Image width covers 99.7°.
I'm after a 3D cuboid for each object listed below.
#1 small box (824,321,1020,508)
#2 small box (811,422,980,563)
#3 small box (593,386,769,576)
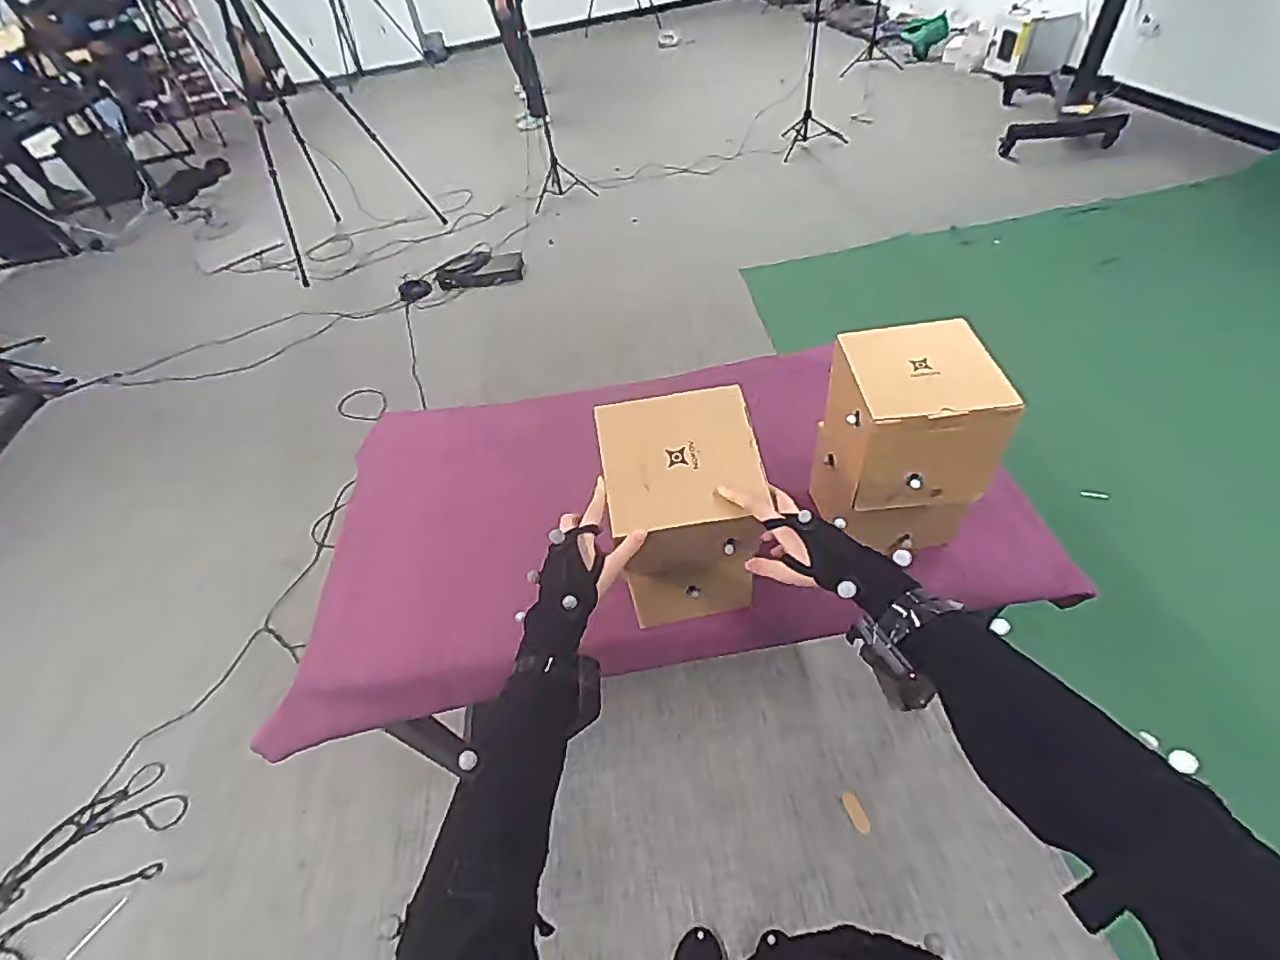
[{"bbox_3d":[0.352,-0.085,0.720,0.168,0.176,0.179,-6,48,6],"label":"small box"},{"bbox_3d":[0.386,0.007,0.852,0.179,0.176,0.168,-12,46,0],"label":"small box"},{"bbox_3d":[0.044,0.008,0.670,0.179,0.176,0.168,-9,63,0],"label":"small box"}]
